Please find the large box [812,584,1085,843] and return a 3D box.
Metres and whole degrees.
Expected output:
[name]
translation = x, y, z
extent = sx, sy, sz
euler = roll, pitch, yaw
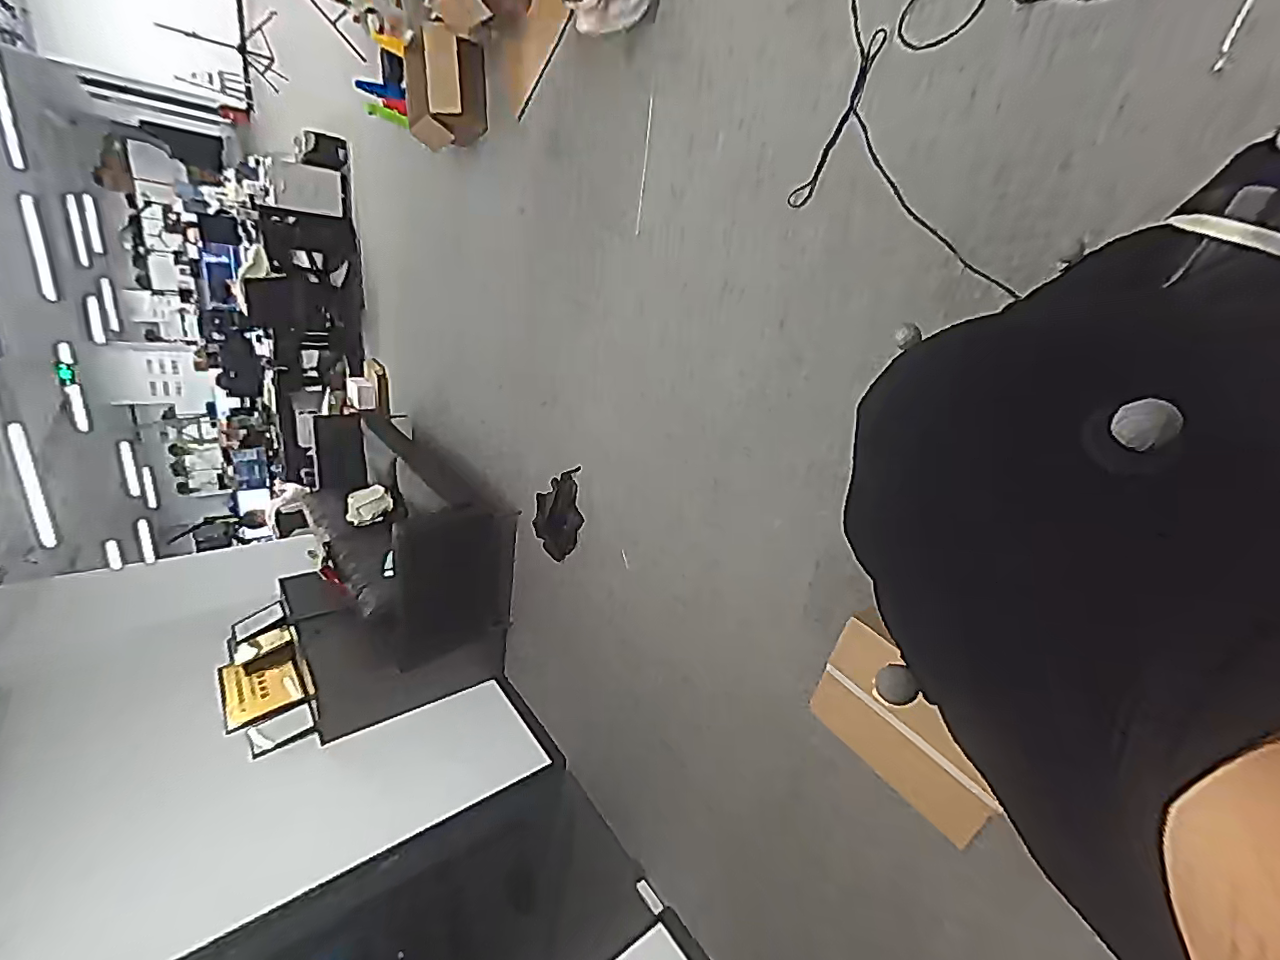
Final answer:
[large box]
translation = 0.698, 0.509, 1.262
extent = 0.408, 0.320, 0.320
euler = 38, 125, 42
